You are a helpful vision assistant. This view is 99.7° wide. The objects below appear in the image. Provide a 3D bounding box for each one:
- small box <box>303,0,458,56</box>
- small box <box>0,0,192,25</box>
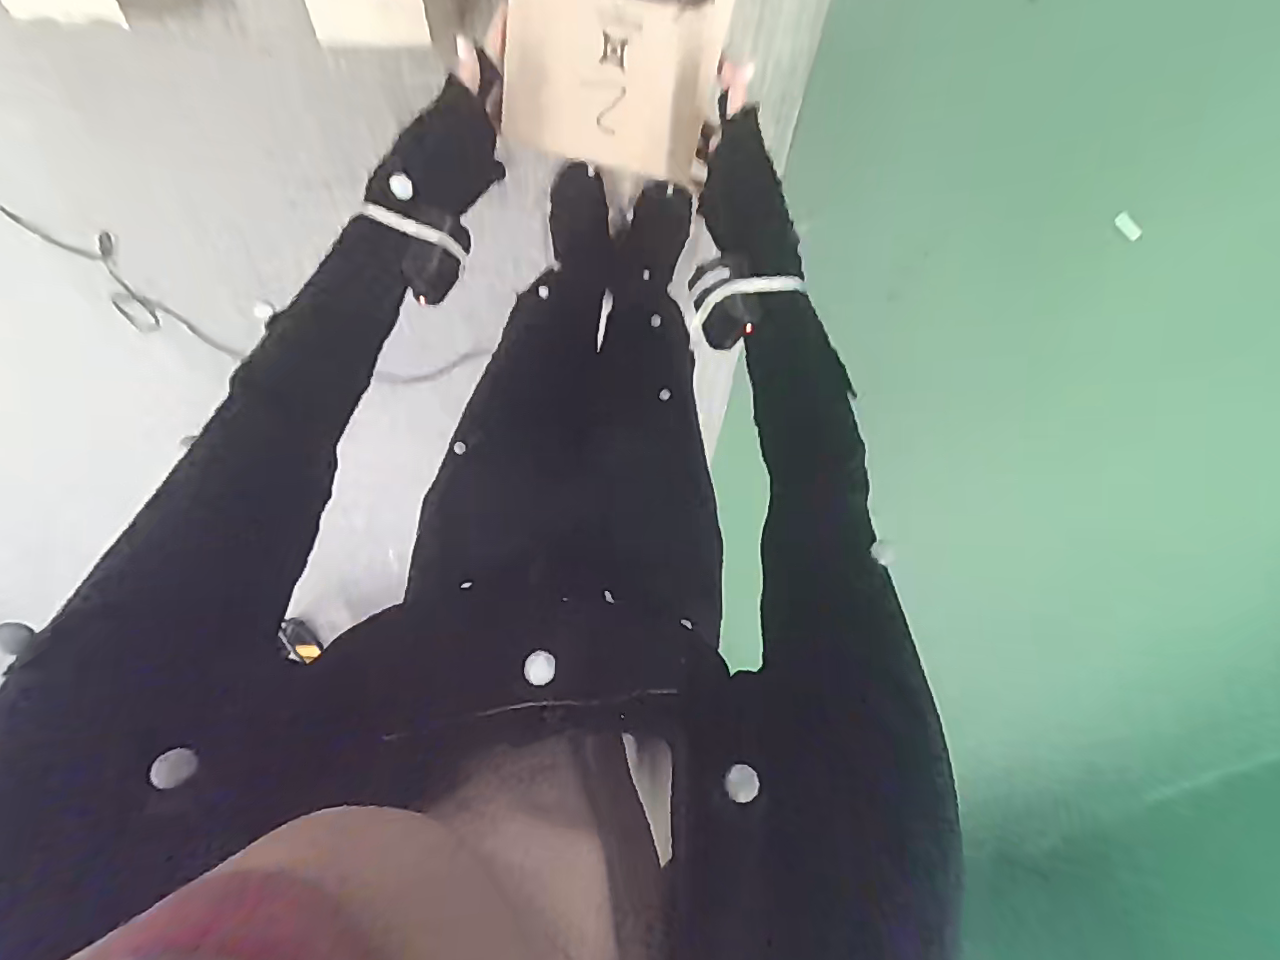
[{"bbox_3d":[-0.375,-0.730,0.774,0.168,0.176,0.179,1,133,-1],"label":"small box"},{"bbox_3d":[-0.800,-0.760,0.760,0.168,0.176,0.179,1,134,1],"label":"small box"}]
